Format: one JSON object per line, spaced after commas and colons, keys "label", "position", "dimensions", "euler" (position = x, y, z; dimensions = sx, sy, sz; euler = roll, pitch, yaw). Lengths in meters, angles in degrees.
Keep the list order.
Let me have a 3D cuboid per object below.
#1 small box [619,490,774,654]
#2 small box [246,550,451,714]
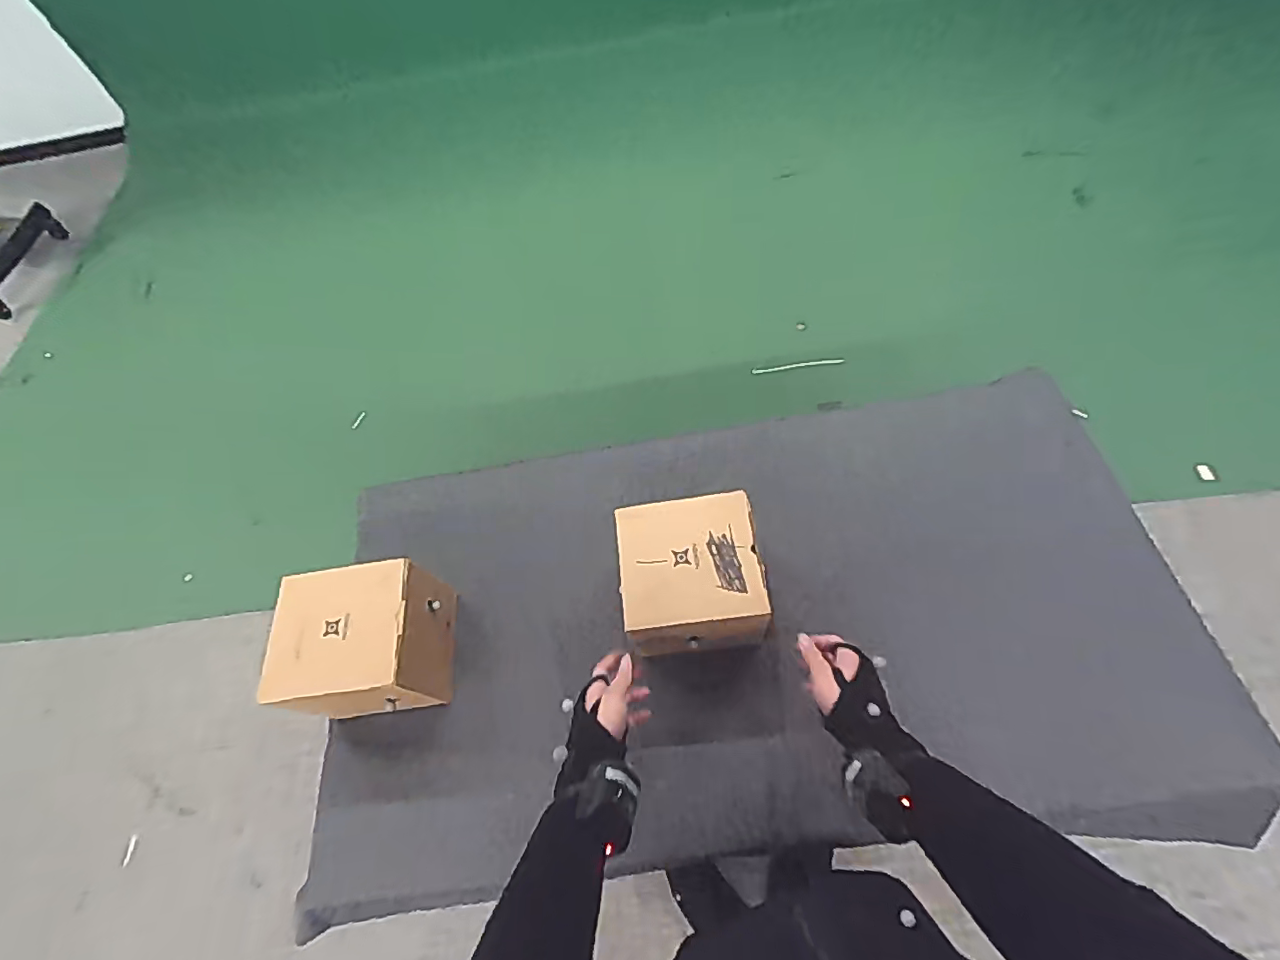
{"label": "small box", "position": [0.071, 0.131, 0.732], "dimensions": [0.179, 0.176, 0.168], "euler": [-7, 60, 3]}
{"label": "small box", "position": [-0.374, 0.212, 0.734], "dimensions": [0.179, 0.176, 0.168], "euler": [-9, 59, 2]}
